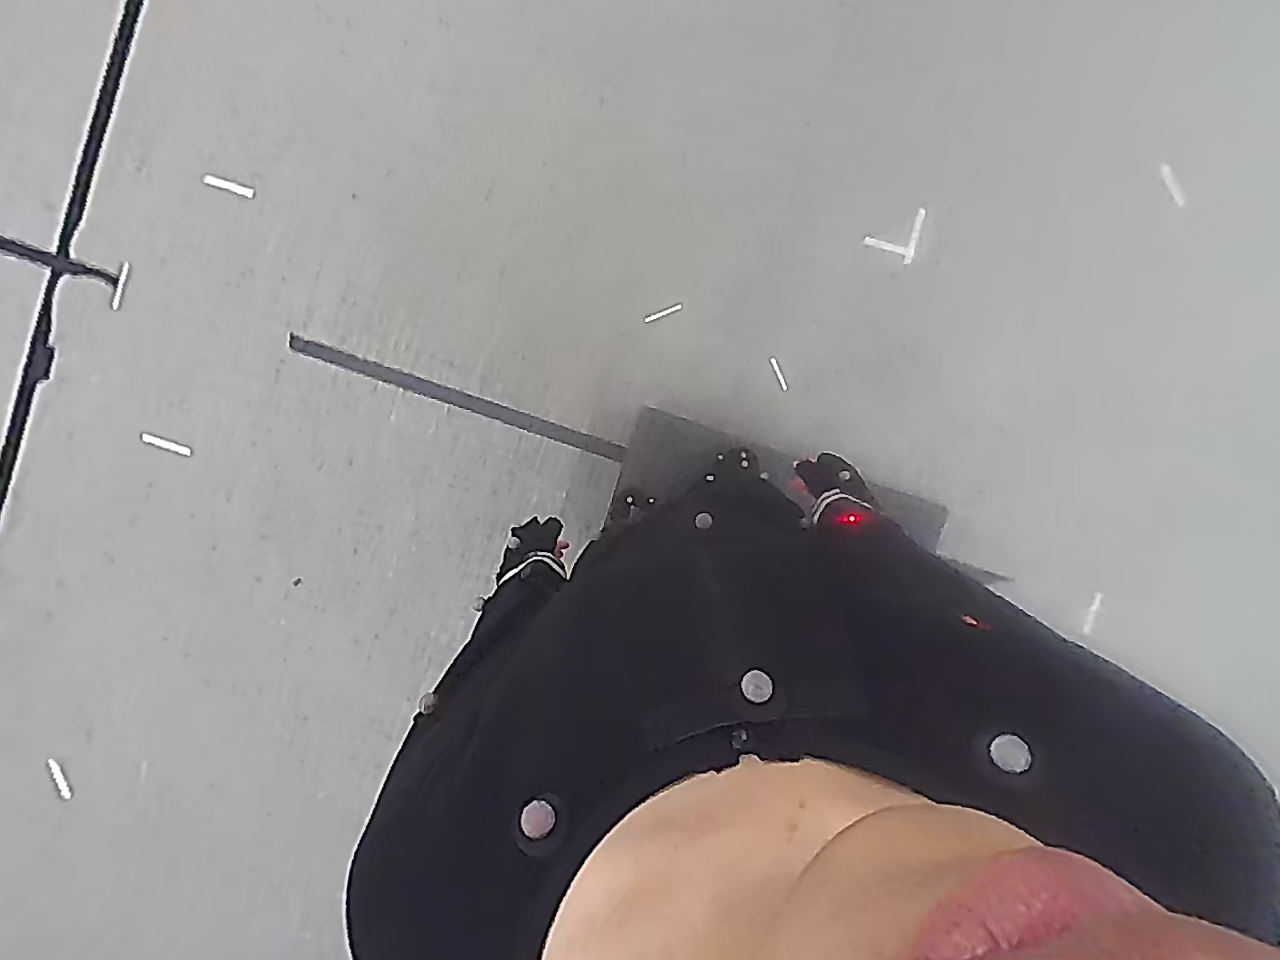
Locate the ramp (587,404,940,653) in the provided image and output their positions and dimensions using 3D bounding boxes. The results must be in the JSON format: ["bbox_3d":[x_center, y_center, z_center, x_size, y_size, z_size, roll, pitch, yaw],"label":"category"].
[{"bbox_3d":[0.386,0.161,1.567,0.991,0.206,0.509,16,90,-1],"label":"ramp"}]
